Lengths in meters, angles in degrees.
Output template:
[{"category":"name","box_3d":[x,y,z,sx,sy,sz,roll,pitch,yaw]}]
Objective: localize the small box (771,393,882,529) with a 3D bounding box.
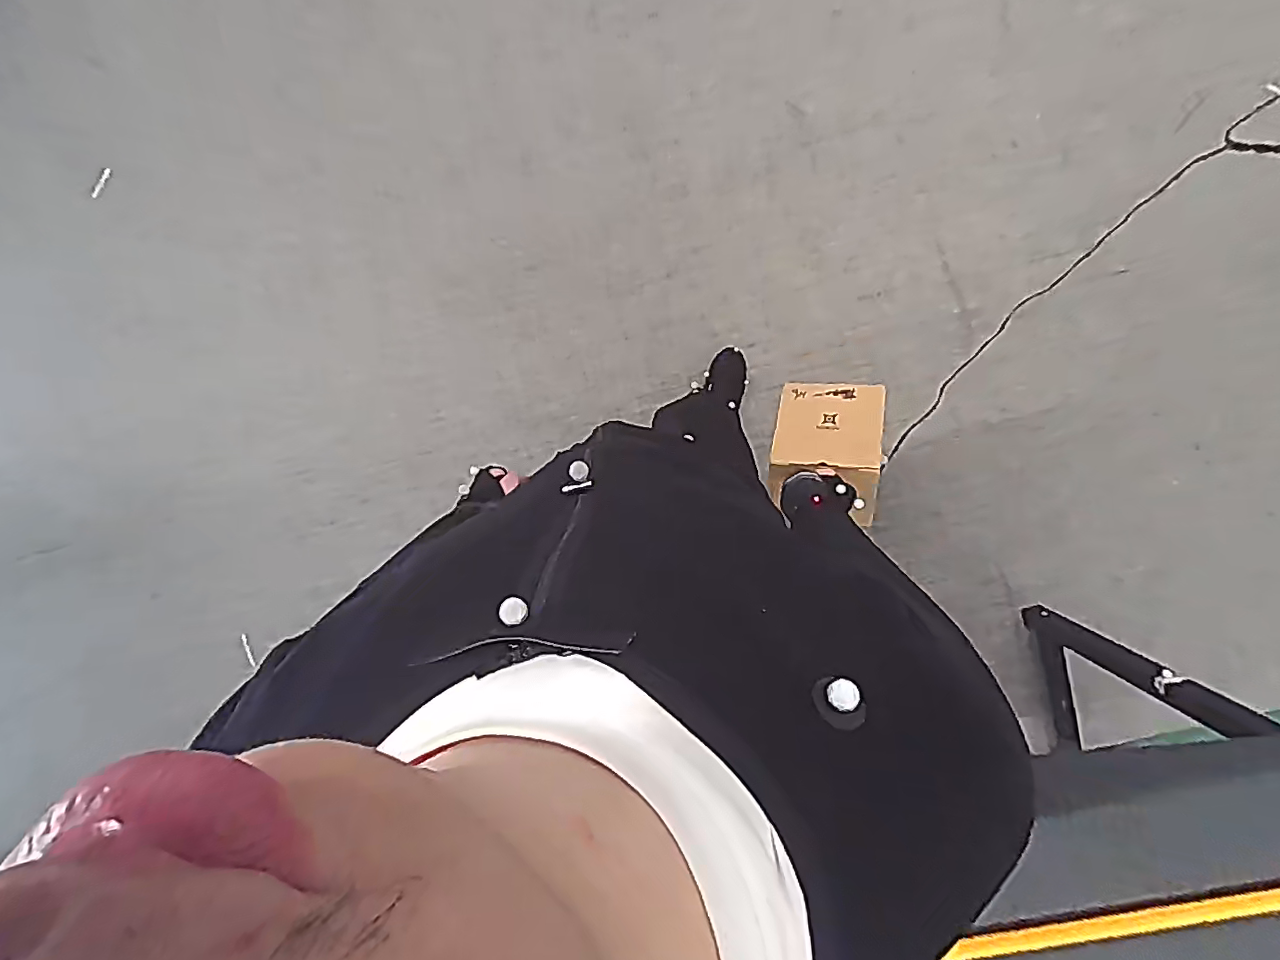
[{"category":"small box","box_3d":[0.330,-0.030,0.942,0.168,0.176,0.179,2,55,22]}]
